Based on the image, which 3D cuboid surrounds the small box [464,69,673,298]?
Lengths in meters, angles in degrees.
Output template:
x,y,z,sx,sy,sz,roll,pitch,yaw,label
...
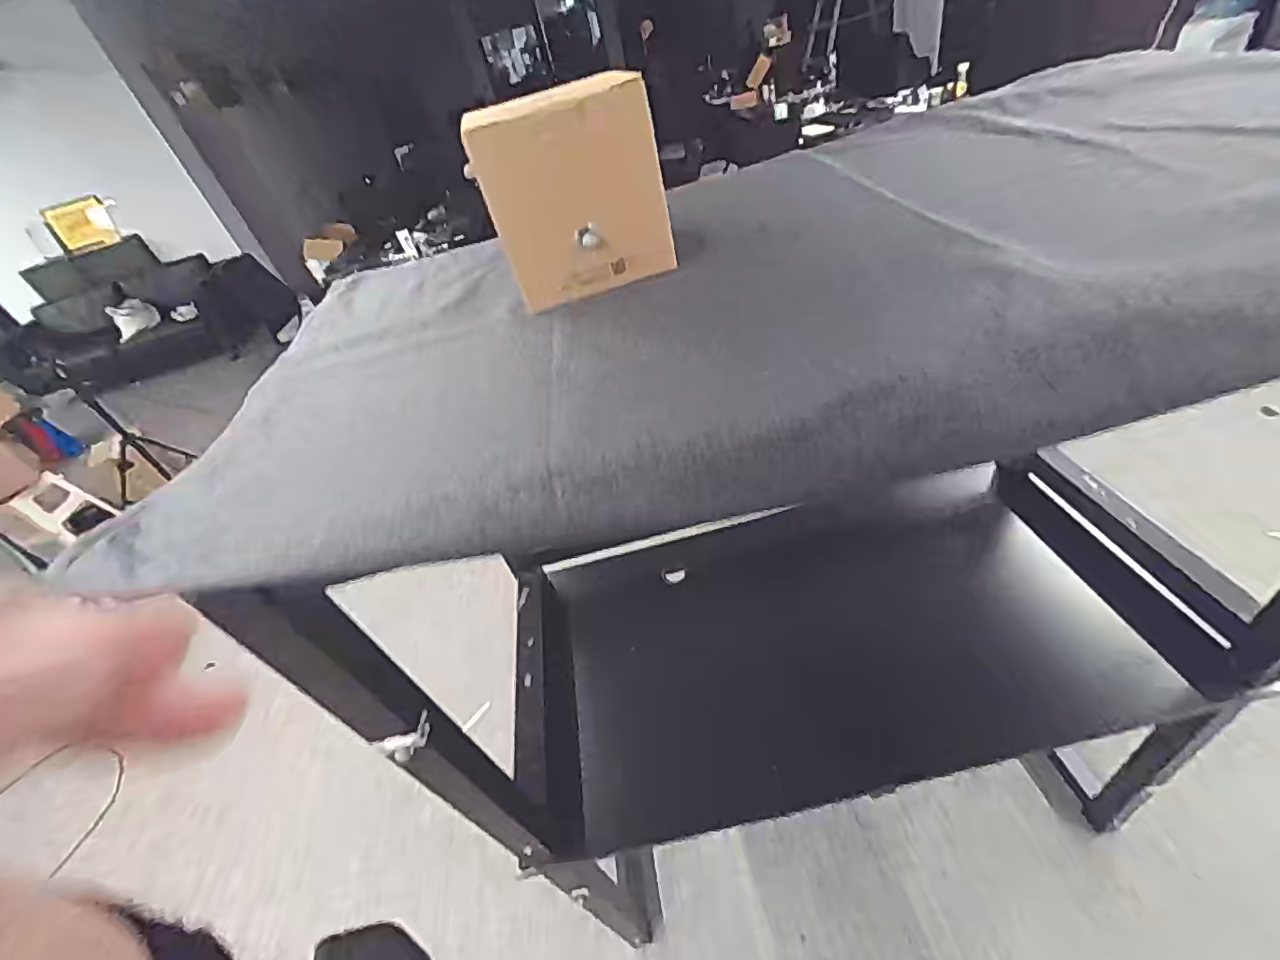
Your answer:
x,y,z,sx,sy,sz,roll,pitch,yaw,label
-0.074,-0.317,0.581,0.168,0.176,0.179,-18,40,-2,small box
